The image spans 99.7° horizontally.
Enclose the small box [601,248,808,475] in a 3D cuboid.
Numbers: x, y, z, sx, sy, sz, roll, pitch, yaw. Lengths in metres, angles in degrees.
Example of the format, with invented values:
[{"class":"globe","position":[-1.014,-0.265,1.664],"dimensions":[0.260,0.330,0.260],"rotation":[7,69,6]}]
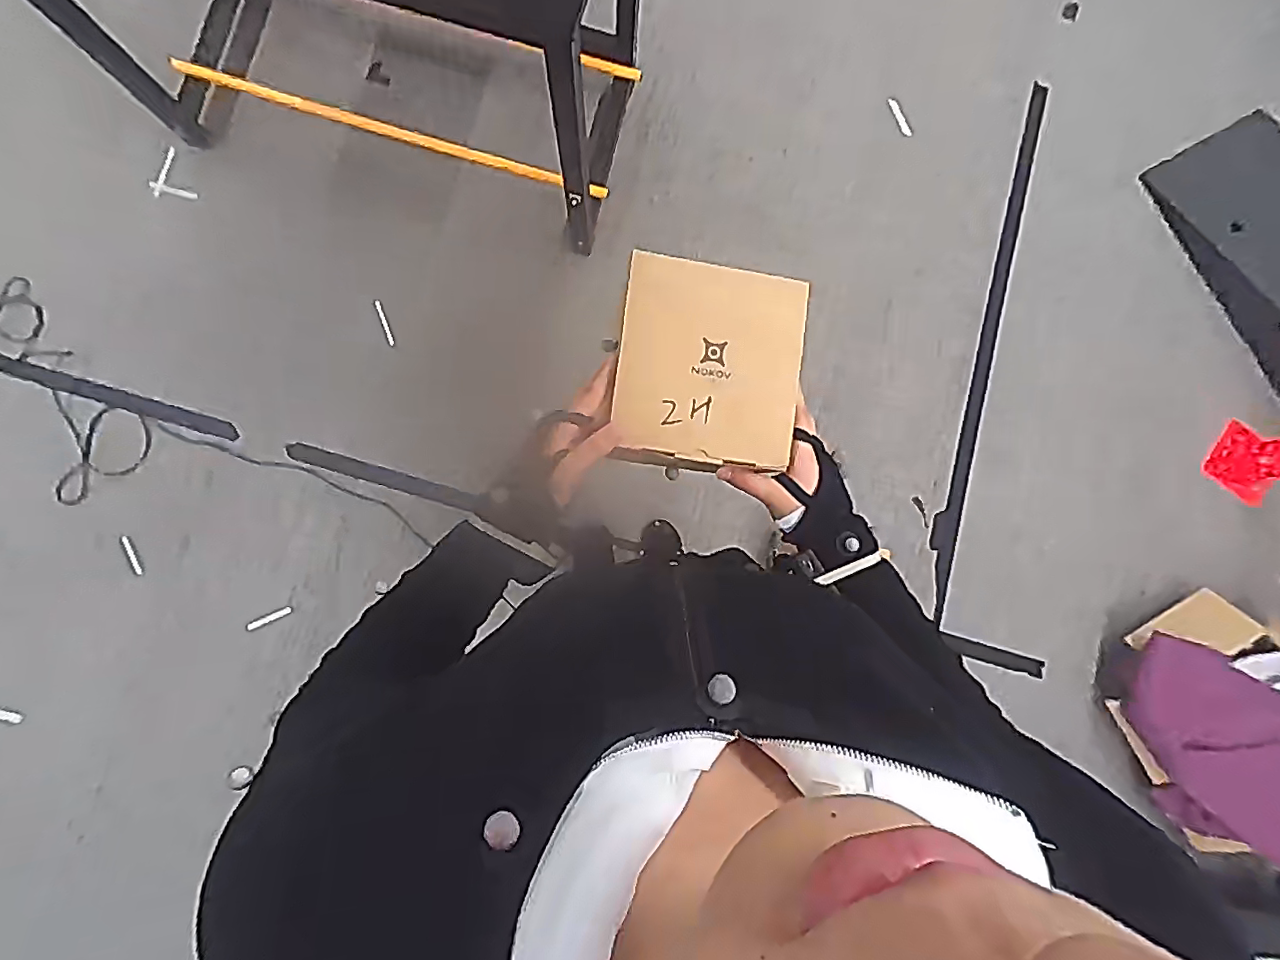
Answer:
[{"class":"small box","position":[0.053,-0.104,0.554],"dimensions":[0.168,0.176,0.179],"rotation":[7,87,-6]}]

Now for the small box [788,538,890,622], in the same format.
[{"class":"small box","position":[0.463,0.232,1.282],"dimensions":[0.179,0.176,0.168],"rotation":[8,84,-2]}]

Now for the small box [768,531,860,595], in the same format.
[{"class":"small box","position":[0.460,0.230,1.447],"dimensions":[0.179,0.176,0.168],"rotation":[9,84,-1]}]
